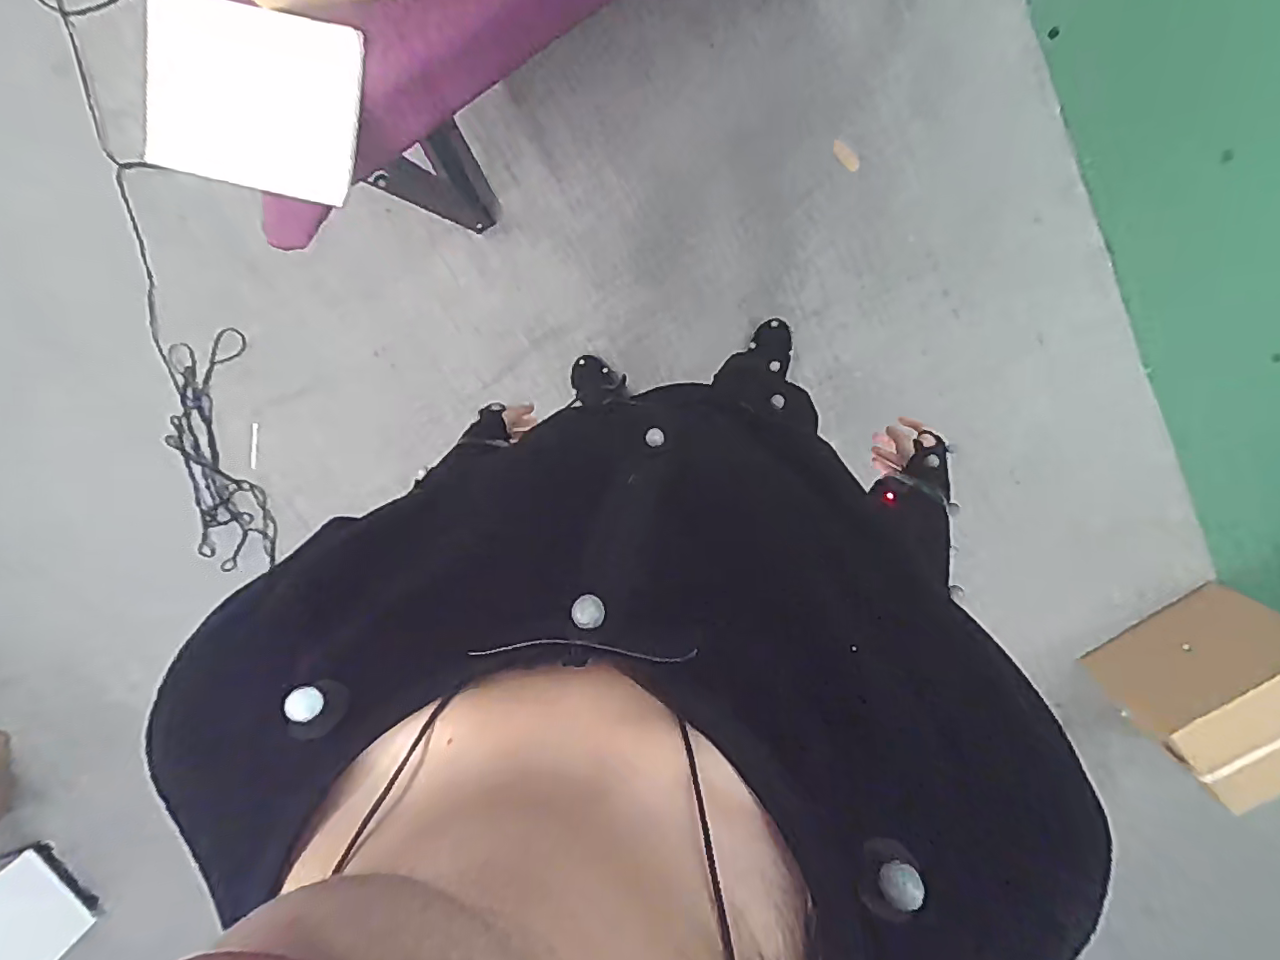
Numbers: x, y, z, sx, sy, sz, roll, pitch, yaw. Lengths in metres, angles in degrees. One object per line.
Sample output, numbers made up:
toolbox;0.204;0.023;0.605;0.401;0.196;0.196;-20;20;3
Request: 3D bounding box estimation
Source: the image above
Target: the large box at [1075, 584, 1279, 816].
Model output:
large box;1.492;0.553;1.405;0.408;0.320;0.320;-41;100;12
